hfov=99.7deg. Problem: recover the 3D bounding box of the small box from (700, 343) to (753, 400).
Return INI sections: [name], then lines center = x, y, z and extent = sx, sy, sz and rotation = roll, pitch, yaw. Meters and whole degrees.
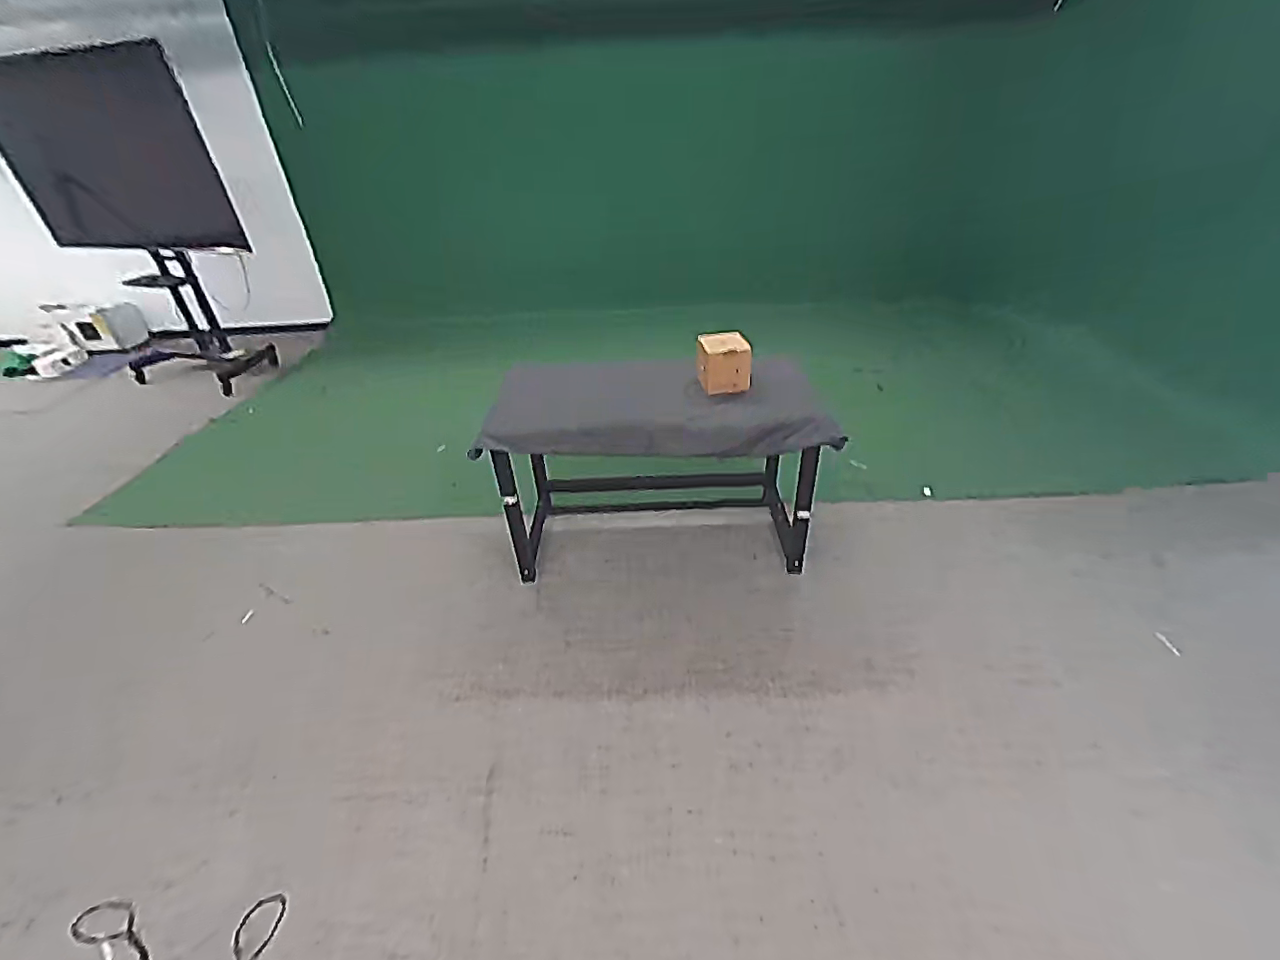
[small box]
center = 0.329, -0.414, 2.081
extent = 0.168, 0.176, 0.179
rotation = -6, 32, -6
